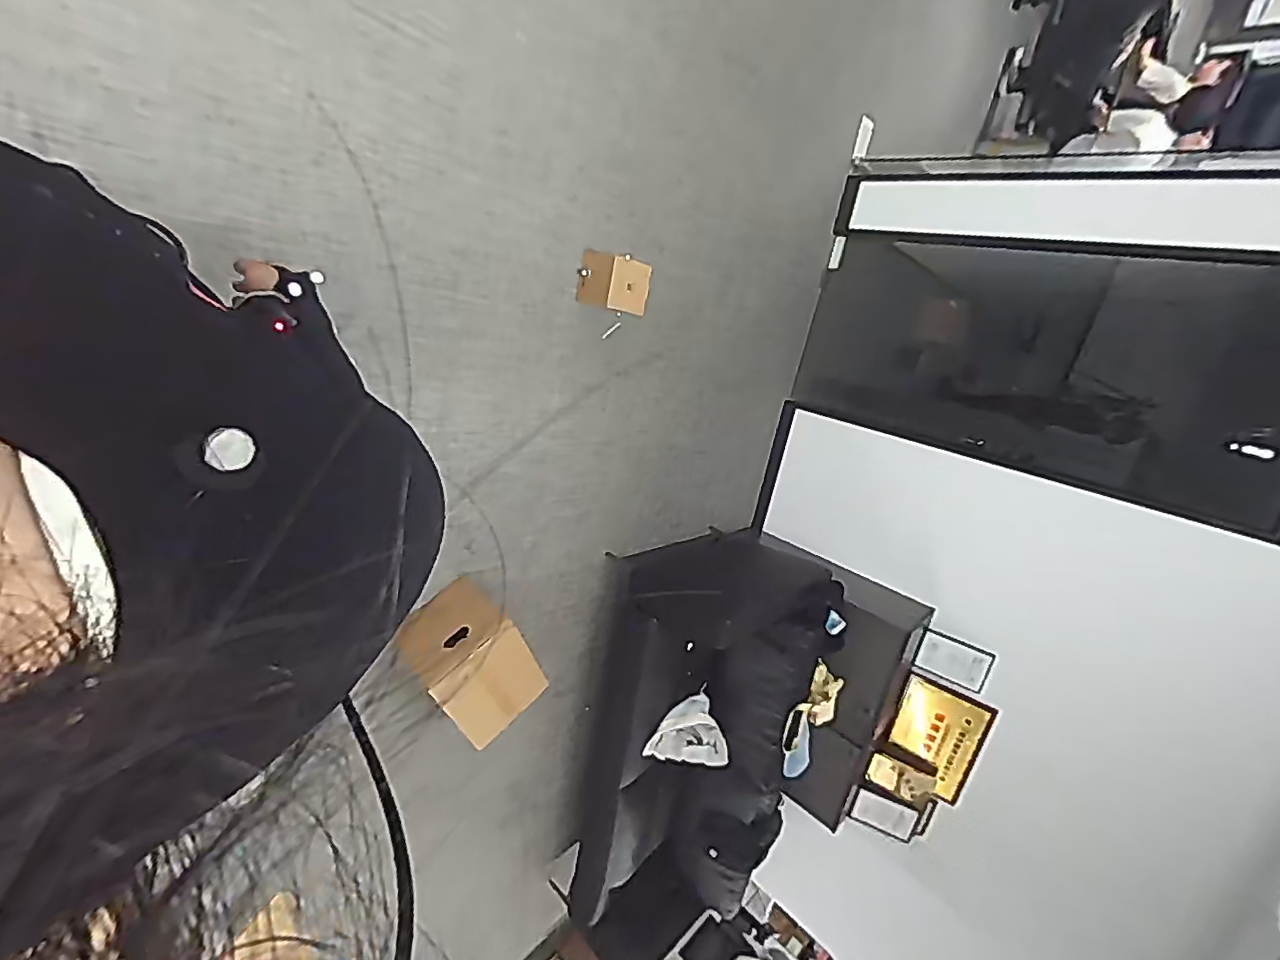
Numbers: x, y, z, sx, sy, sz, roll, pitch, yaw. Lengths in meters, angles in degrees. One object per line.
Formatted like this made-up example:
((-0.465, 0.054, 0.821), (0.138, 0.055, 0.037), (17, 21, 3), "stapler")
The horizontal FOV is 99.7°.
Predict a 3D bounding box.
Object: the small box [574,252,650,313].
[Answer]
((-0.097, -0.676, 1.846), (0.179, 0.176, 0.168), (-7, 114, -46), "small box")
